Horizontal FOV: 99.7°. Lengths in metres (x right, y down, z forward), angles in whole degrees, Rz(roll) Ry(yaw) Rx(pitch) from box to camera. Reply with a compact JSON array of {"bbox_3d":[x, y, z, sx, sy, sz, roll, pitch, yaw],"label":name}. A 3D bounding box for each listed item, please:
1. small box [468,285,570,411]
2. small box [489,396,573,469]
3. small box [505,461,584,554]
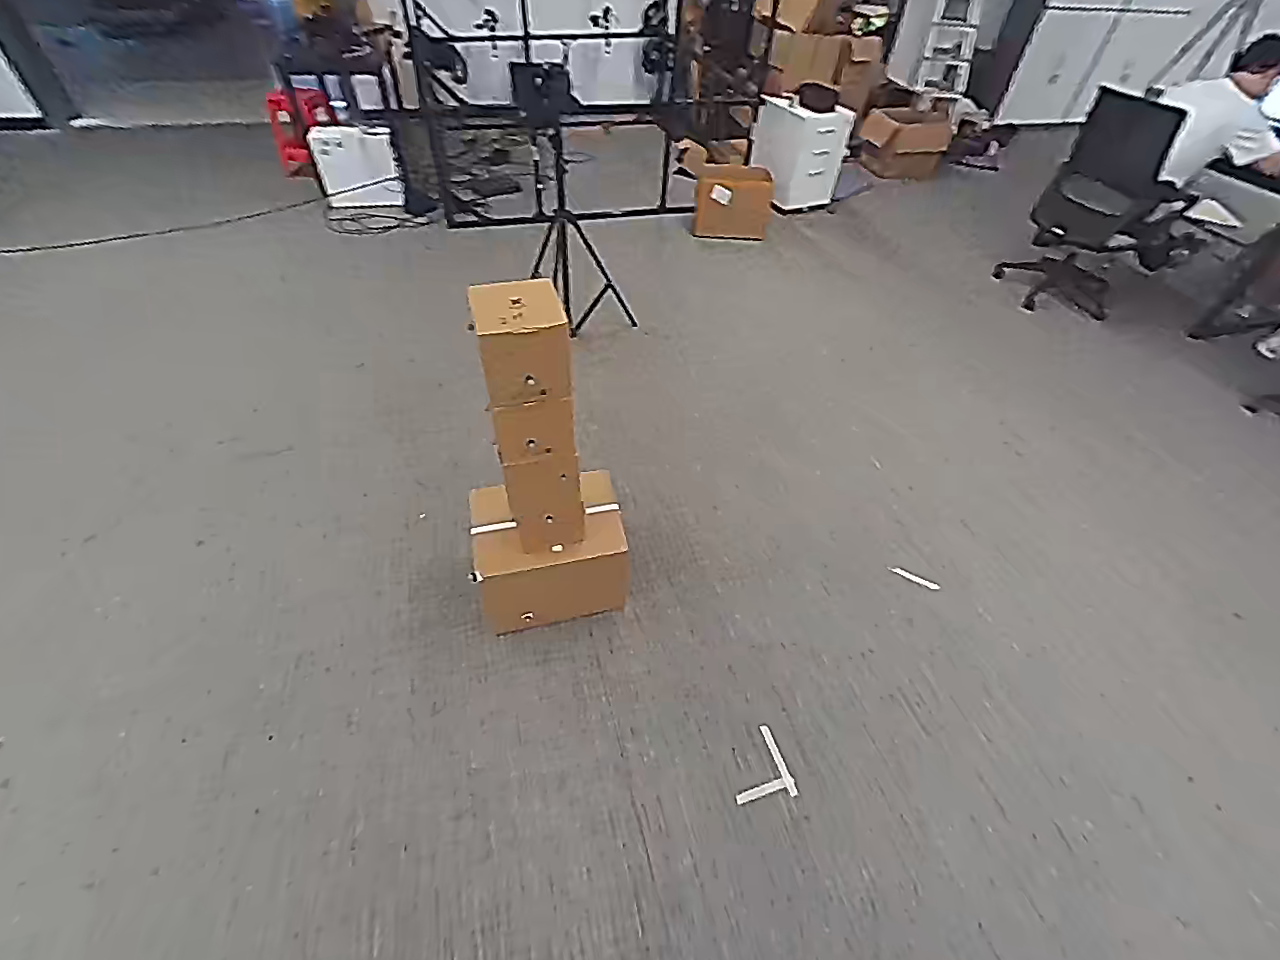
[{"bbox_3d":[-0.239,-0.263,1.078,0.168,0.176,0.179,-12,51,-14],"label":"small box"},{"bbox_3d":[-0.246,-0.150,1.198,0.168,0.176,0.179,-11,50,-13],"label":"small box"},{"bbox_3d":[-0.250,0.077,1.433,0.179,0.176,0.168,-11,50,-14],"label":"small box"}]
